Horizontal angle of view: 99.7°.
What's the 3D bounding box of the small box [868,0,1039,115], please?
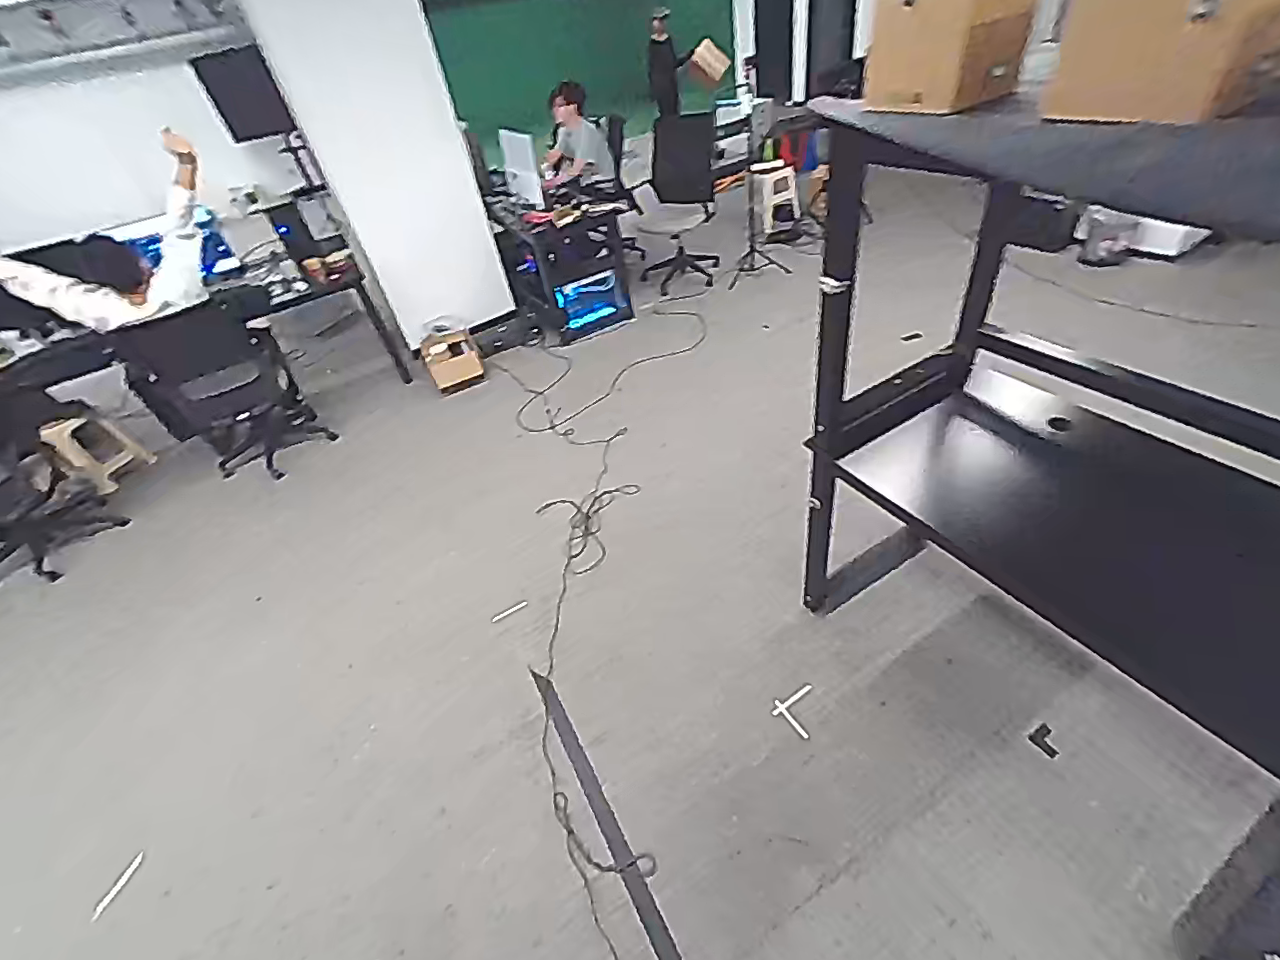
[{"bbox_3d":[0.480,-0.689,0.841,0.179,0.176,0.168,-28,44,-19],"label":"small box"}]
